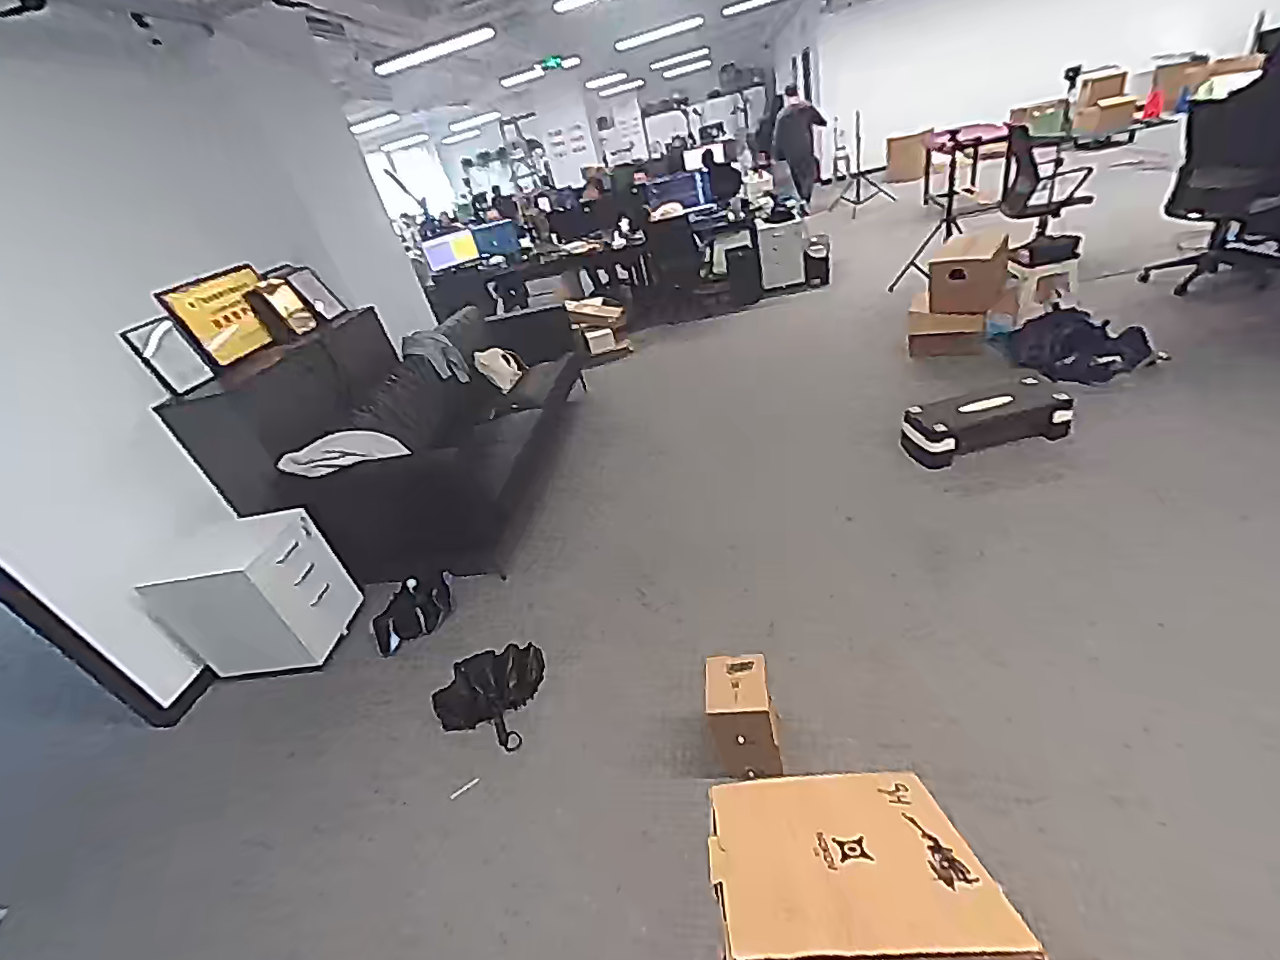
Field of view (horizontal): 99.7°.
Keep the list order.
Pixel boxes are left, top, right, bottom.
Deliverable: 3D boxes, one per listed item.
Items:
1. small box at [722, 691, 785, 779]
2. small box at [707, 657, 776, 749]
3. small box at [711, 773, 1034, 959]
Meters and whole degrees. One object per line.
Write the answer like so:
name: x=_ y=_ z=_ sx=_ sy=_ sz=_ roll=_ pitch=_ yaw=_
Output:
small box: x=0.329 y=0.753 z=1.598 sx=0.168 sy=0.176 sz=0.179 roll=-10 pitch=33 yaw=12
small box: x=0.282 y=0.622 z=1.510 sx=0.168 sy=0.176 sz=0.179 roll=-9 pitch=33 yaw=13
small box: x=0.151 y=0.343 z=0.388 sx=0.179 sy=0.176 sz=0.168 roll=-5 pitch=3 yaw=4
